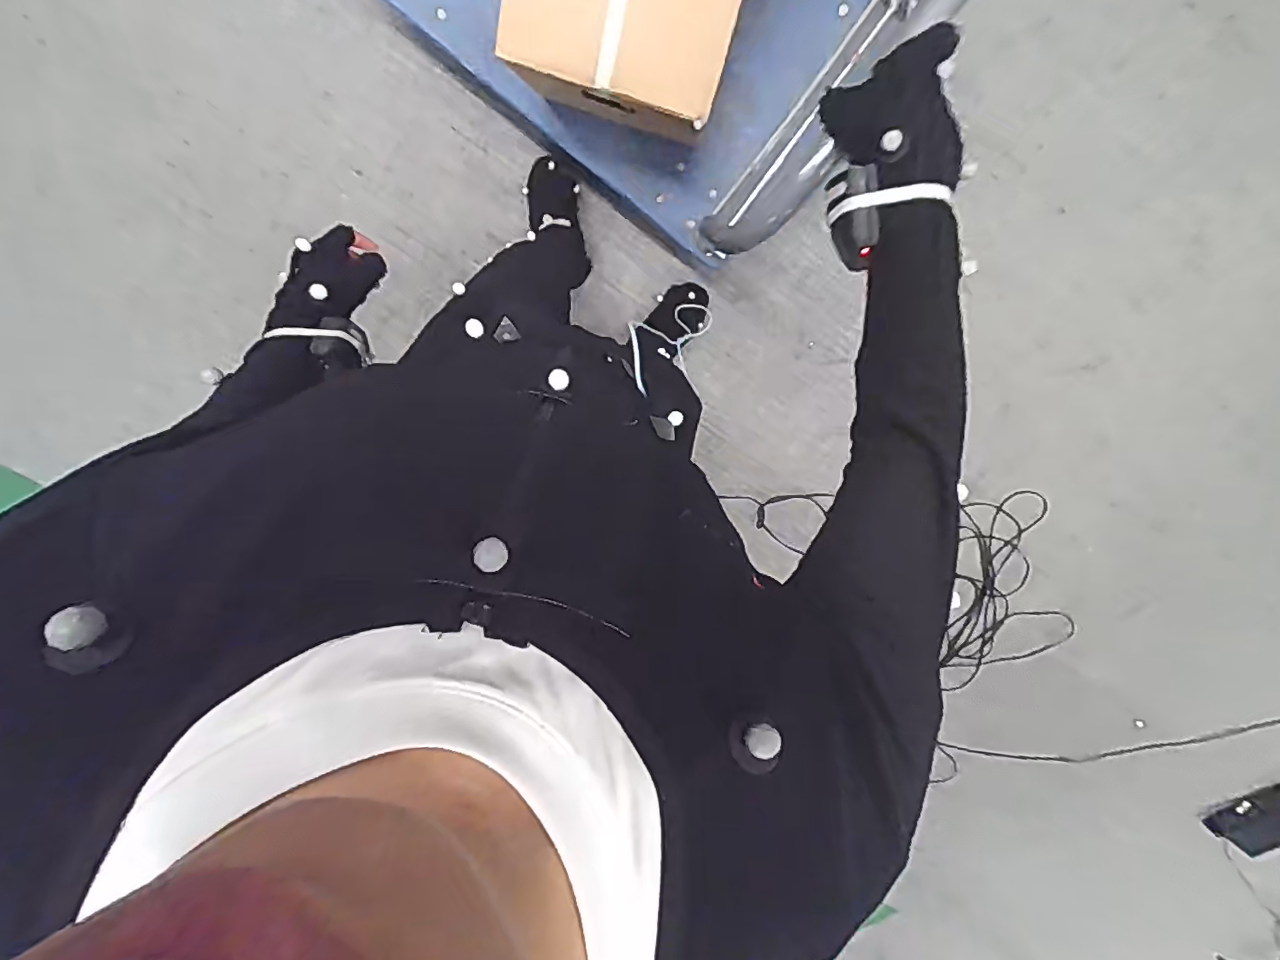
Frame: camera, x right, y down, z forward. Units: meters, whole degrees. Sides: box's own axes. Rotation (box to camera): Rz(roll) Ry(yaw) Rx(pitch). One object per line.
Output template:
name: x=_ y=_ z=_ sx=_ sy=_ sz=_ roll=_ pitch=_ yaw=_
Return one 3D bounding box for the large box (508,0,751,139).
large box: x=0.019 y=-0.793 z=0.807 sx=0.320 sy=0.320 sz=0.408 roll=16 pitch=118 yaw=-4
